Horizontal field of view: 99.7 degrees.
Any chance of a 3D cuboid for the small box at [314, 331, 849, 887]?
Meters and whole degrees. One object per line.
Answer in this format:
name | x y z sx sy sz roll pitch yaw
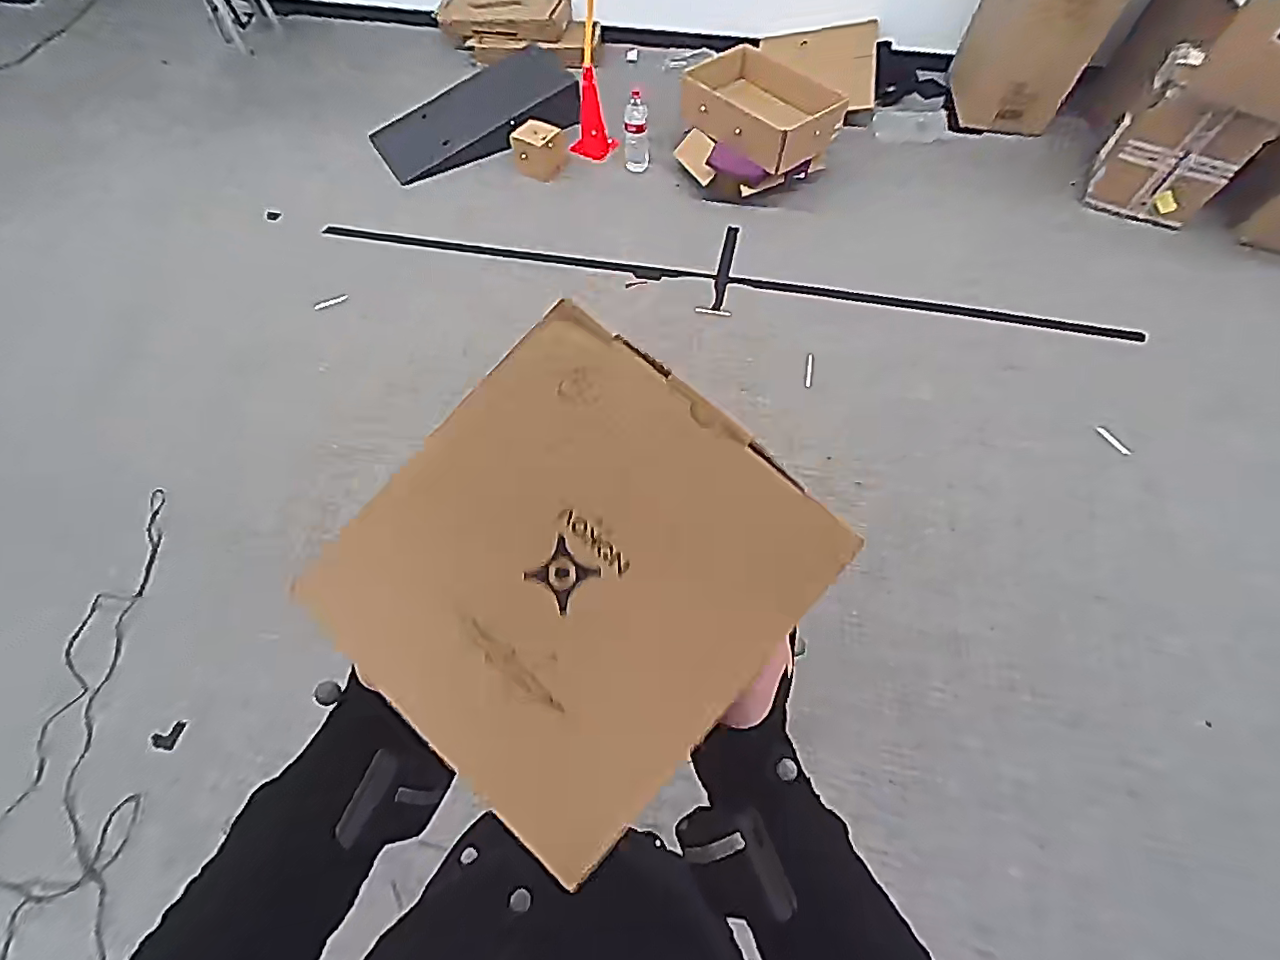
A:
small box | -0.023 0.057 0.309 0.168 0.176 0.179 40 87 8
